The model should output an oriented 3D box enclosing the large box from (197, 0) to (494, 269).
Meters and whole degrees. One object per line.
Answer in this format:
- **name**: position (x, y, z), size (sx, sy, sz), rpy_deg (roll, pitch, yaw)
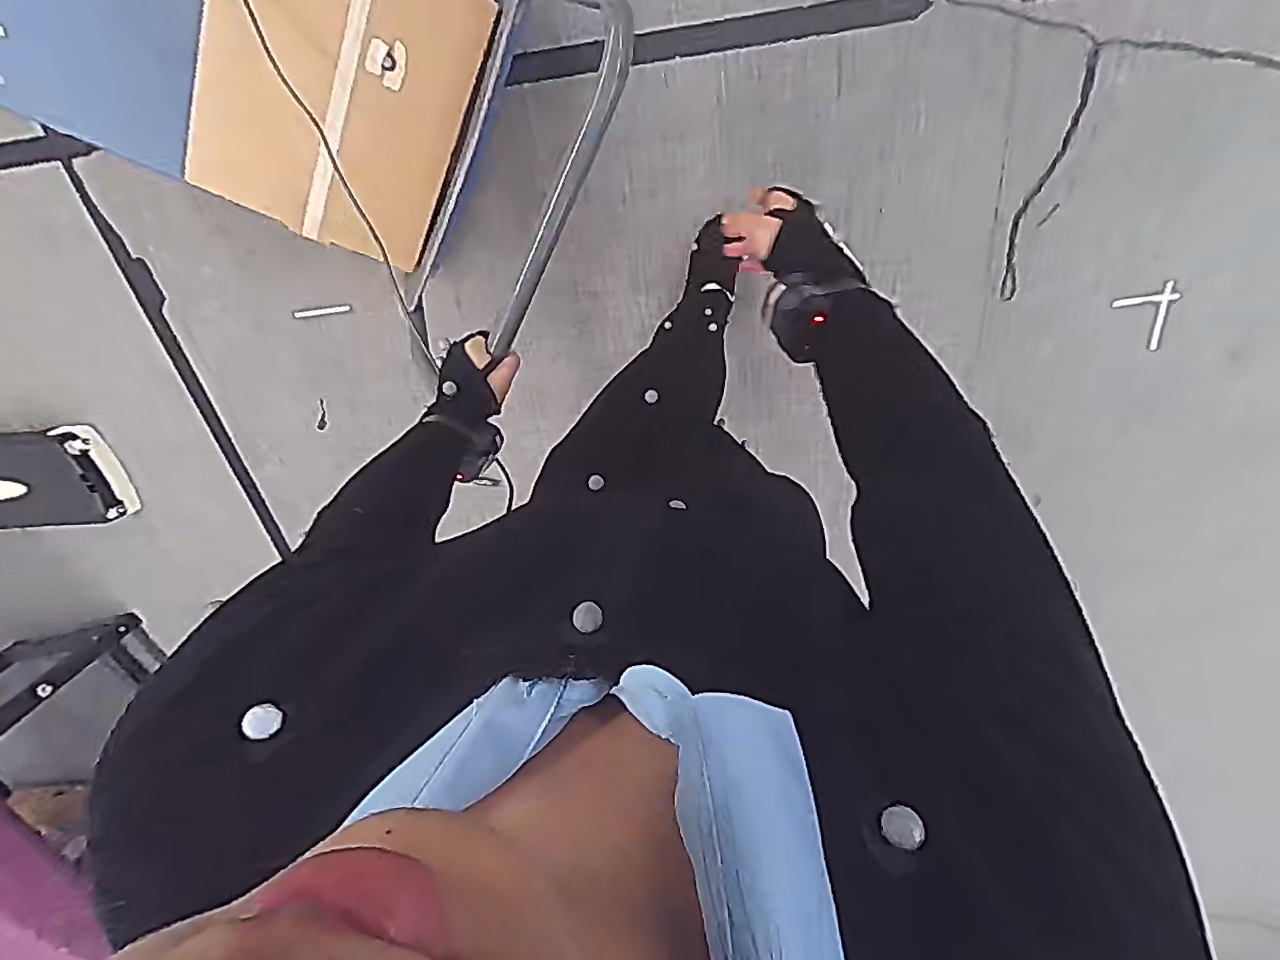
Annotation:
- **large box**: position (-0.460, -0.629, 0.875), size (0.320, 0.320, 0.408), rpy_deg (14, 119, -31)
